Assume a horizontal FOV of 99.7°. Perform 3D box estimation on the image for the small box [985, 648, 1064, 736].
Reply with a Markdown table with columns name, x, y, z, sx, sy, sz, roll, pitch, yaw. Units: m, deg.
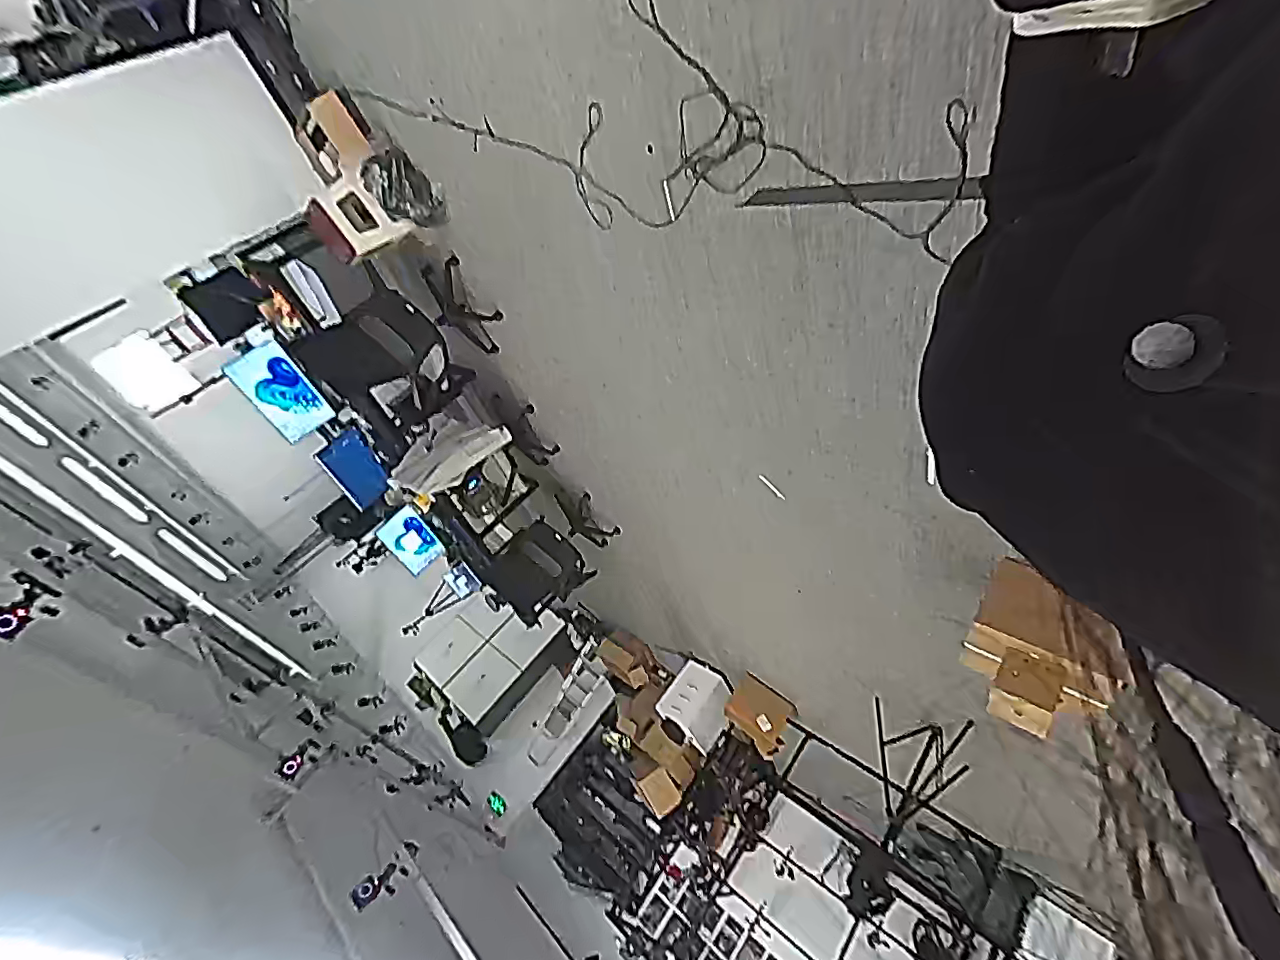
| name | x | y | z | sx | sy | sz | roll | pitch | yaw |
| --- | --- | --- | --- | --- | --- | --- | --- | --- | --- |
| small box | 1.237 | 0.677 | 1.742 | 0.168 | 0.176 | 0.179 | 19 | 146 | 42 |
